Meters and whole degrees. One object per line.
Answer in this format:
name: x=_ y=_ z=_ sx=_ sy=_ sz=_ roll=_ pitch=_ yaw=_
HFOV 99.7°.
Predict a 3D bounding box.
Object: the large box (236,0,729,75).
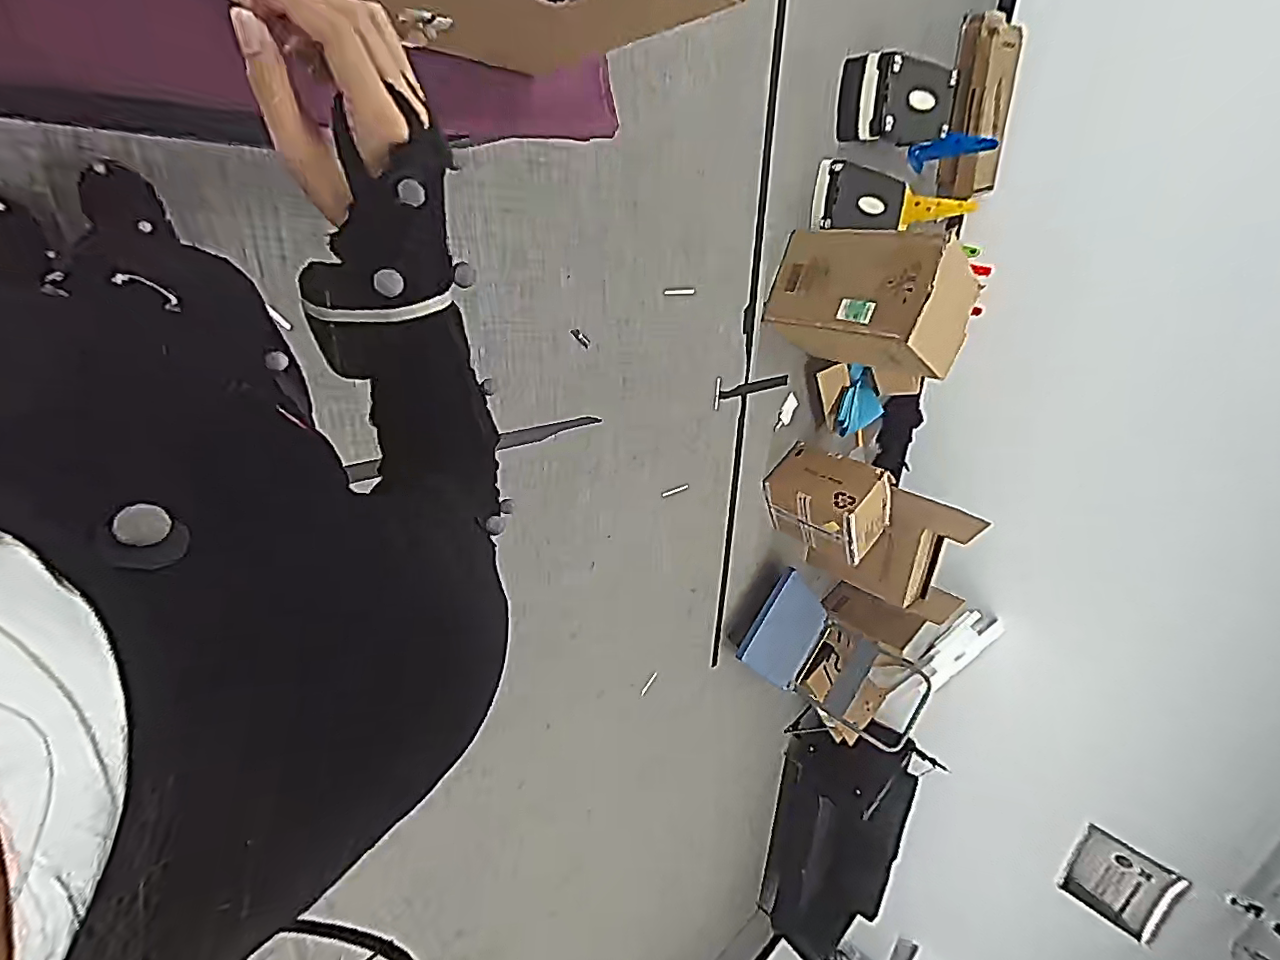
large box: x=-0.134 y=-0.574 z=0.372 sx=0.320 sy=0.320 sz=0.408 roll=-20 pitch=121 yaw=-40
